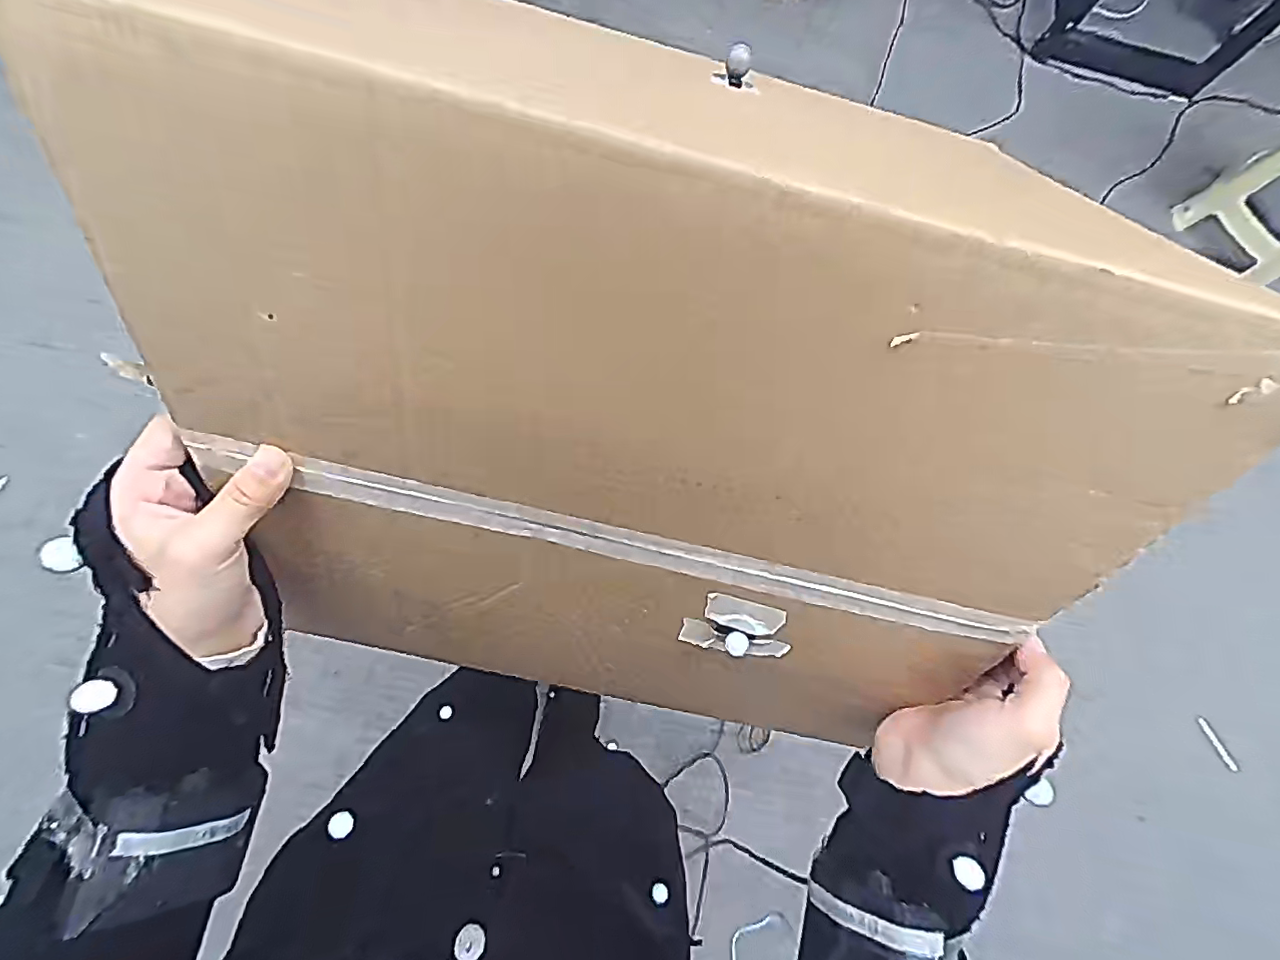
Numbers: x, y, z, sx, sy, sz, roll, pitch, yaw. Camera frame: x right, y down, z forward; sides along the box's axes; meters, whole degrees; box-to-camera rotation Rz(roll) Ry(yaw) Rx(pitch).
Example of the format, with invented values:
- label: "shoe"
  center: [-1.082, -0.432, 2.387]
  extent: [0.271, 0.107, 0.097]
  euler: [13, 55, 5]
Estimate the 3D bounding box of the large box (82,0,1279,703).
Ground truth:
- label: "large box"
  center: [0.022, -0.098, 0.362]
  extent: [0.408, 0.320, 0.320]
  euler: [12, 43, -4]
